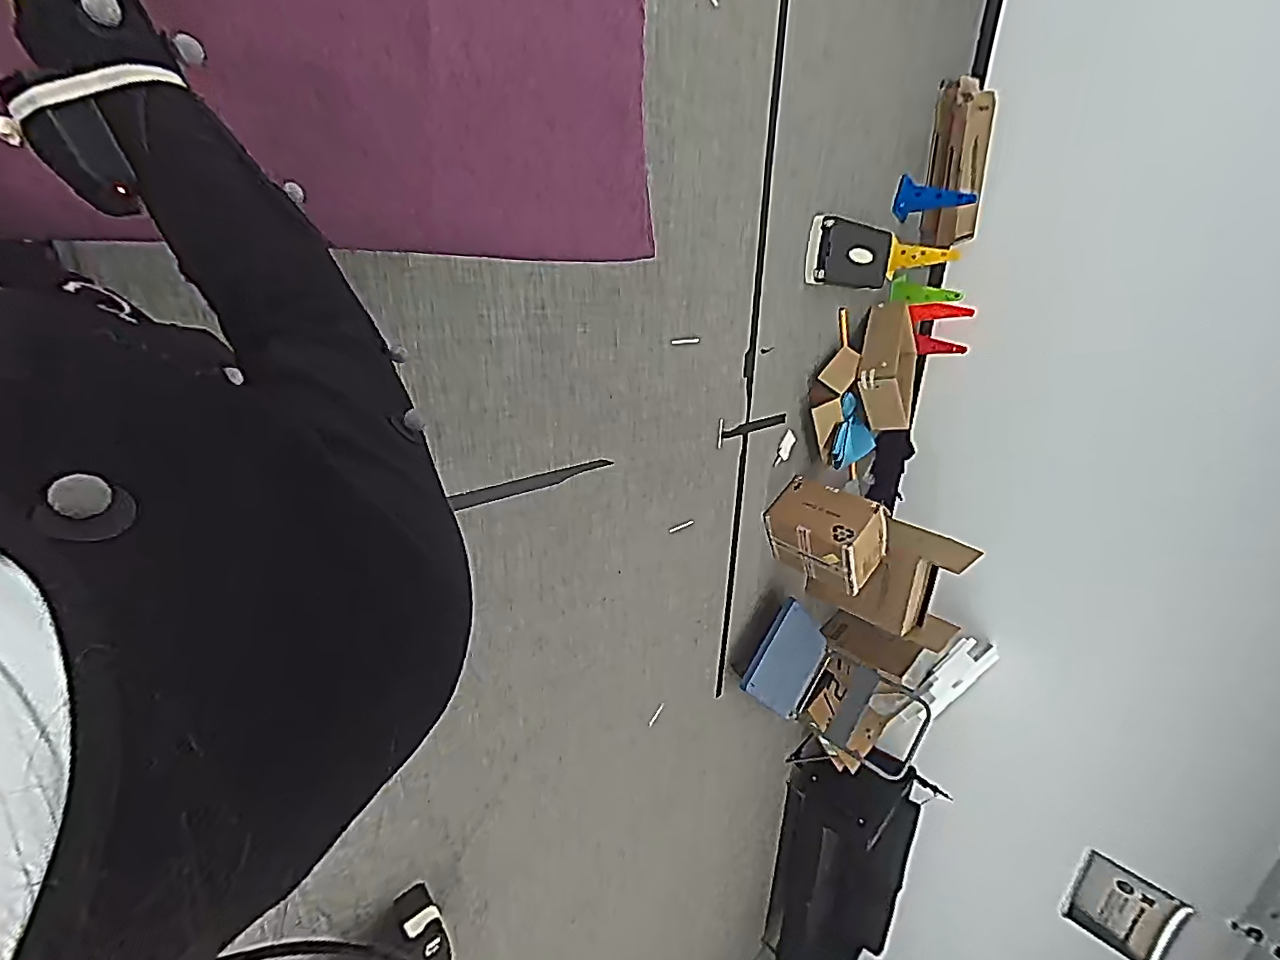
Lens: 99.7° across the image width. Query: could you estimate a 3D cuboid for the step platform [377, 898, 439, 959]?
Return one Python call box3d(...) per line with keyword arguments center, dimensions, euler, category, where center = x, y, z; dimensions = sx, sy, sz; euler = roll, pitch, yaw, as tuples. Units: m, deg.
box3d(center=(-0.968, 1.666, 1.649), dimensions=(0.684, 0.204, 0.286), euler=(-19, 120, -42), category="step platform")
